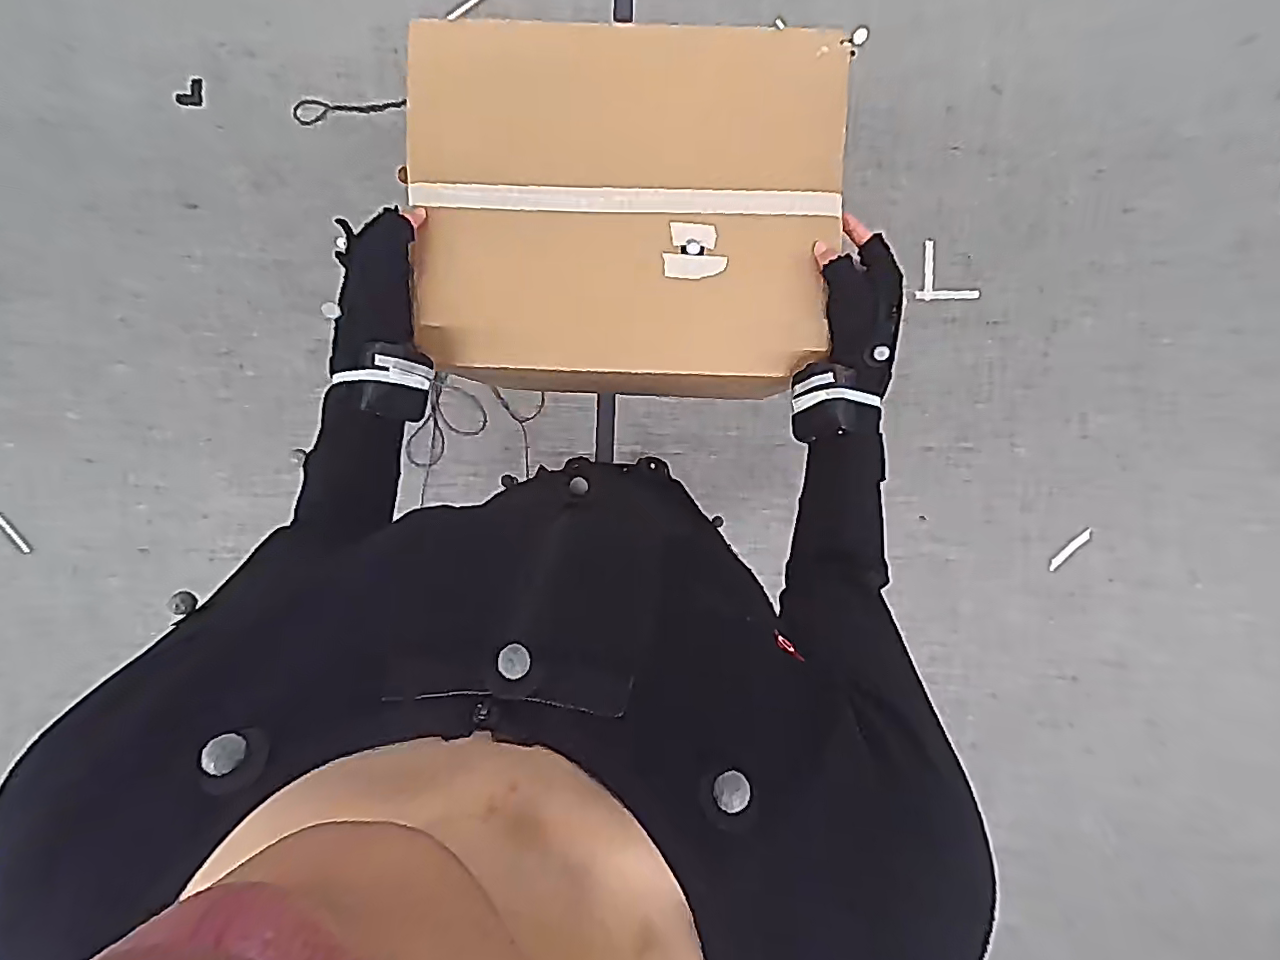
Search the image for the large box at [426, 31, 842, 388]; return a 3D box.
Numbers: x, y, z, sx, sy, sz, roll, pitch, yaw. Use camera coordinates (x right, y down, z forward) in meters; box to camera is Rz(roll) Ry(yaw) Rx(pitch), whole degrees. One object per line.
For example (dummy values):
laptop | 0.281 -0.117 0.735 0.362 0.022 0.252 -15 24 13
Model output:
large box | -0.010 -0.283 0.673 0.408 0.320 0.320 2 96 0
